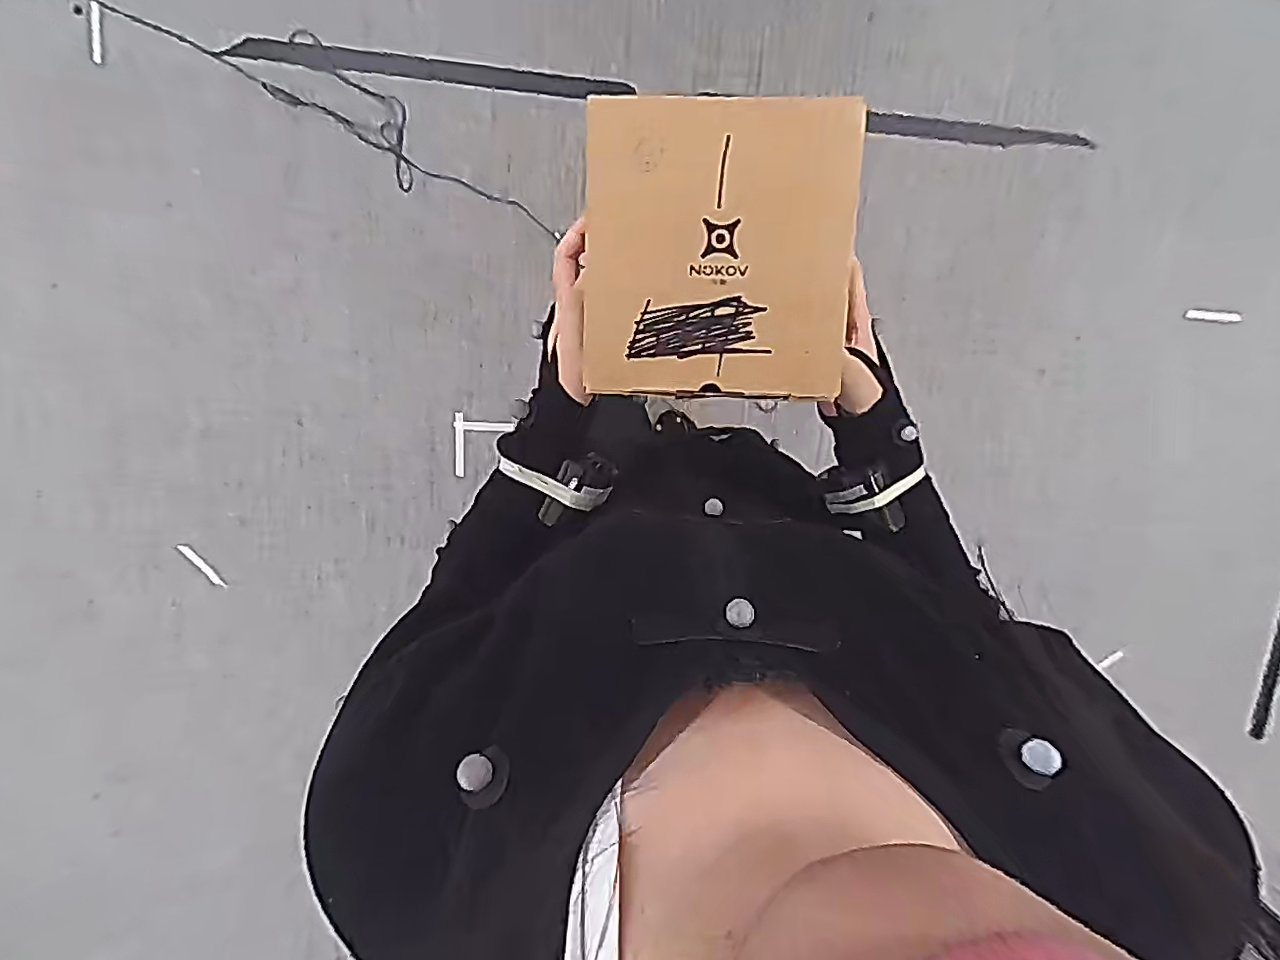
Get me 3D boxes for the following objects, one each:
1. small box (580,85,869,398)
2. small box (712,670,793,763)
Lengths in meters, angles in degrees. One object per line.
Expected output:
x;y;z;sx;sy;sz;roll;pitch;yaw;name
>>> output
0.050;-0.156;0.407;0.168;0.176;0.179;3;100;1;small box
0.311;0.653;1.513;0.179;0.176;0.168;-8;98;-2;small box
